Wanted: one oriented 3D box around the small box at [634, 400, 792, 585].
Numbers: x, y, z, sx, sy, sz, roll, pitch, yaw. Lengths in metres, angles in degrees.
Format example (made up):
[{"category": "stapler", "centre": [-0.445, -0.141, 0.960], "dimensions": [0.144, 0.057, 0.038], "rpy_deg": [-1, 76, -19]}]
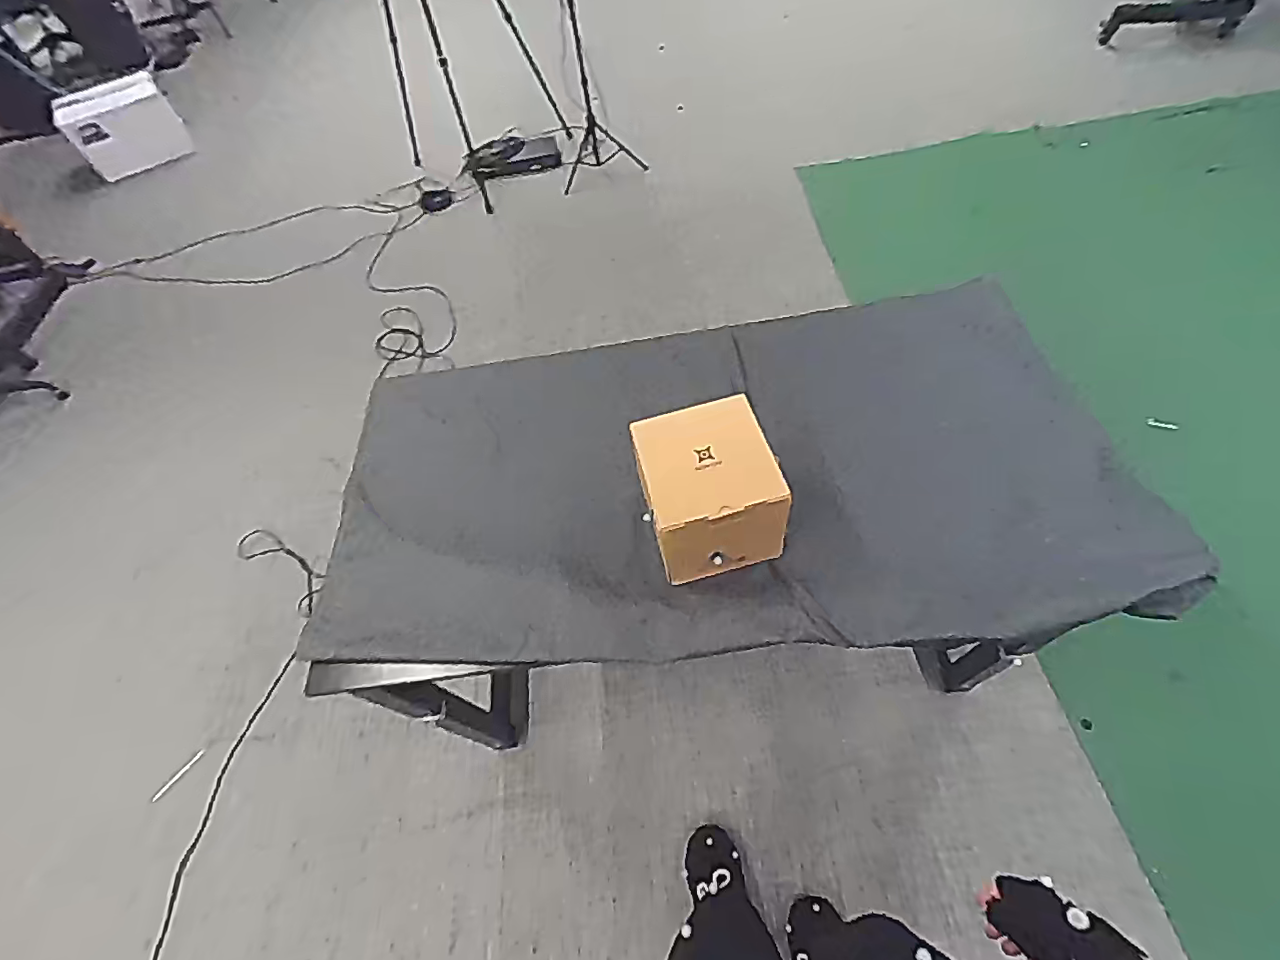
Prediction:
[{"category": "small box", "centre": [0.095, 0.021, 0.760], "dimensions": [0.168, 0.176, 0.179], "rpy_deg": [-15, 56, -2]}]
